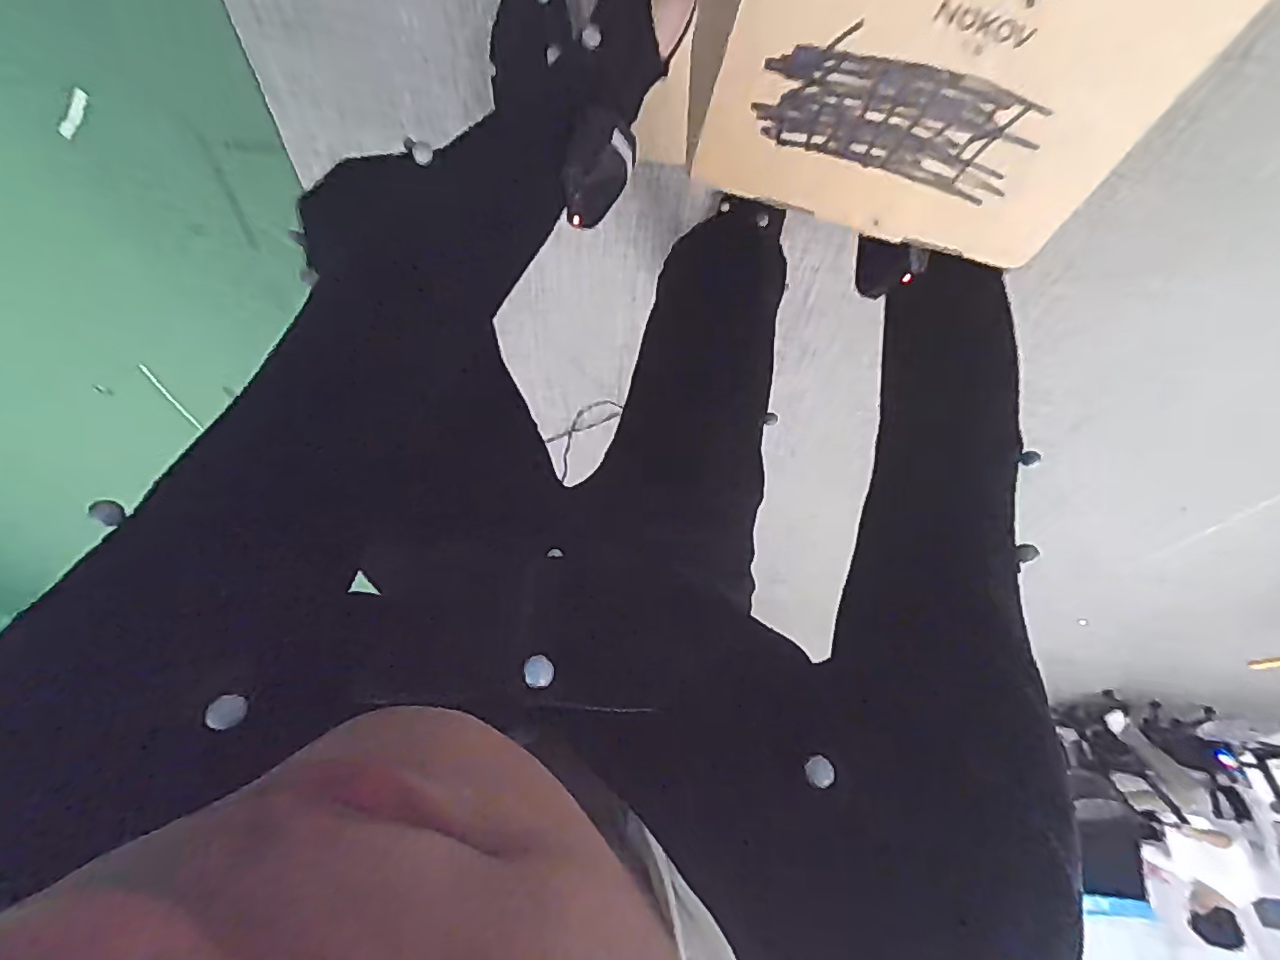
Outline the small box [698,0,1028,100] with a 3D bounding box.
[{"bbox_3d":[0.139,-0.360,0.304,0.179,0.176,0.168,10,146,-8],"label":"small box"}]
